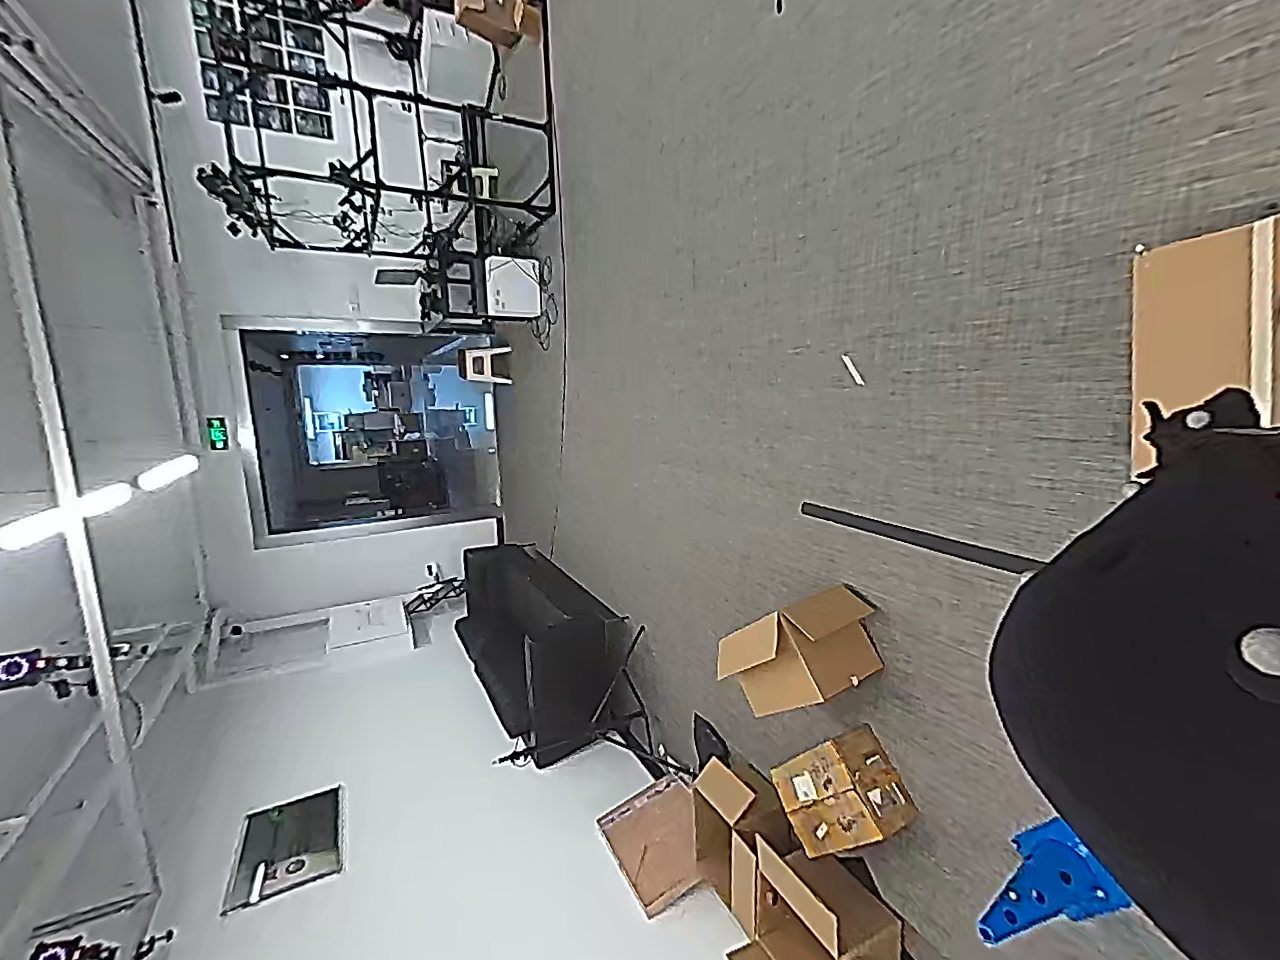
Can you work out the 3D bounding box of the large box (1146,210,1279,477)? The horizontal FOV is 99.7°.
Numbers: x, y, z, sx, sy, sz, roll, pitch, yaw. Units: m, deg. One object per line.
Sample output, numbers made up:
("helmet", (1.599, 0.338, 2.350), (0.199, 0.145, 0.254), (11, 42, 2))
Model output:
("large box", (1.087, -0.211, 0.871), (0.320, 0.320, 0.408), (5, 99, 63))
